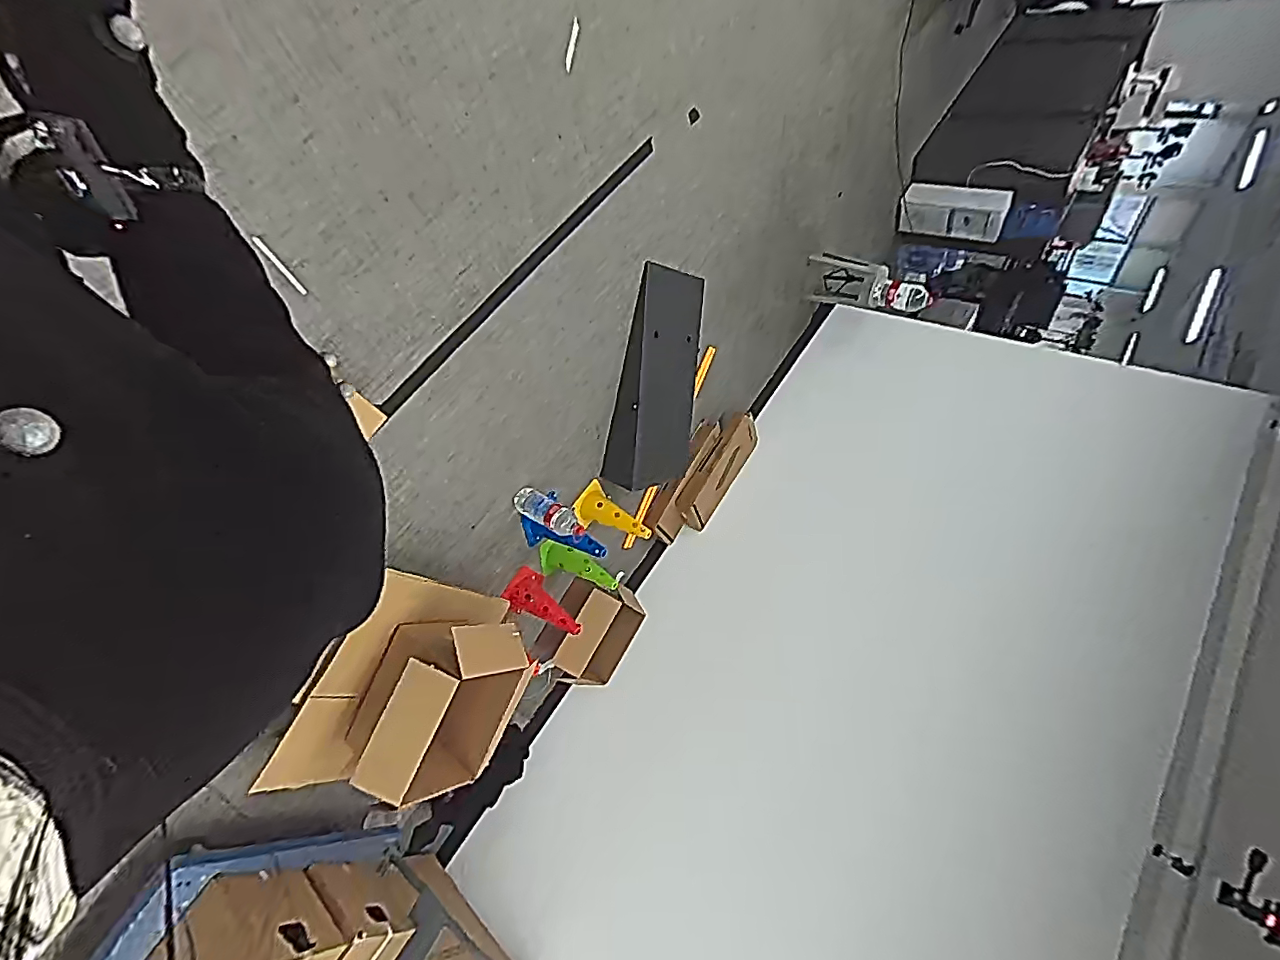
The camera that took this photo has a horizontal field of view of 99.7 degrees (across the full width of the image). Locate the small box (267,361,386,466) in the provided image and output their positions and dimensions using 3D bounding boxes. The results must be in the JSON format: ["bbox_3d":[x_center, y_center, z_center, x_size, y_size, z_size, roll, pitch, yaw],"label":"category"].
[{"bbox_3d":[-0.795,-0.169,1.362,0.179,0.176,0.168,-57,150,-15],"label":"small box"}]
